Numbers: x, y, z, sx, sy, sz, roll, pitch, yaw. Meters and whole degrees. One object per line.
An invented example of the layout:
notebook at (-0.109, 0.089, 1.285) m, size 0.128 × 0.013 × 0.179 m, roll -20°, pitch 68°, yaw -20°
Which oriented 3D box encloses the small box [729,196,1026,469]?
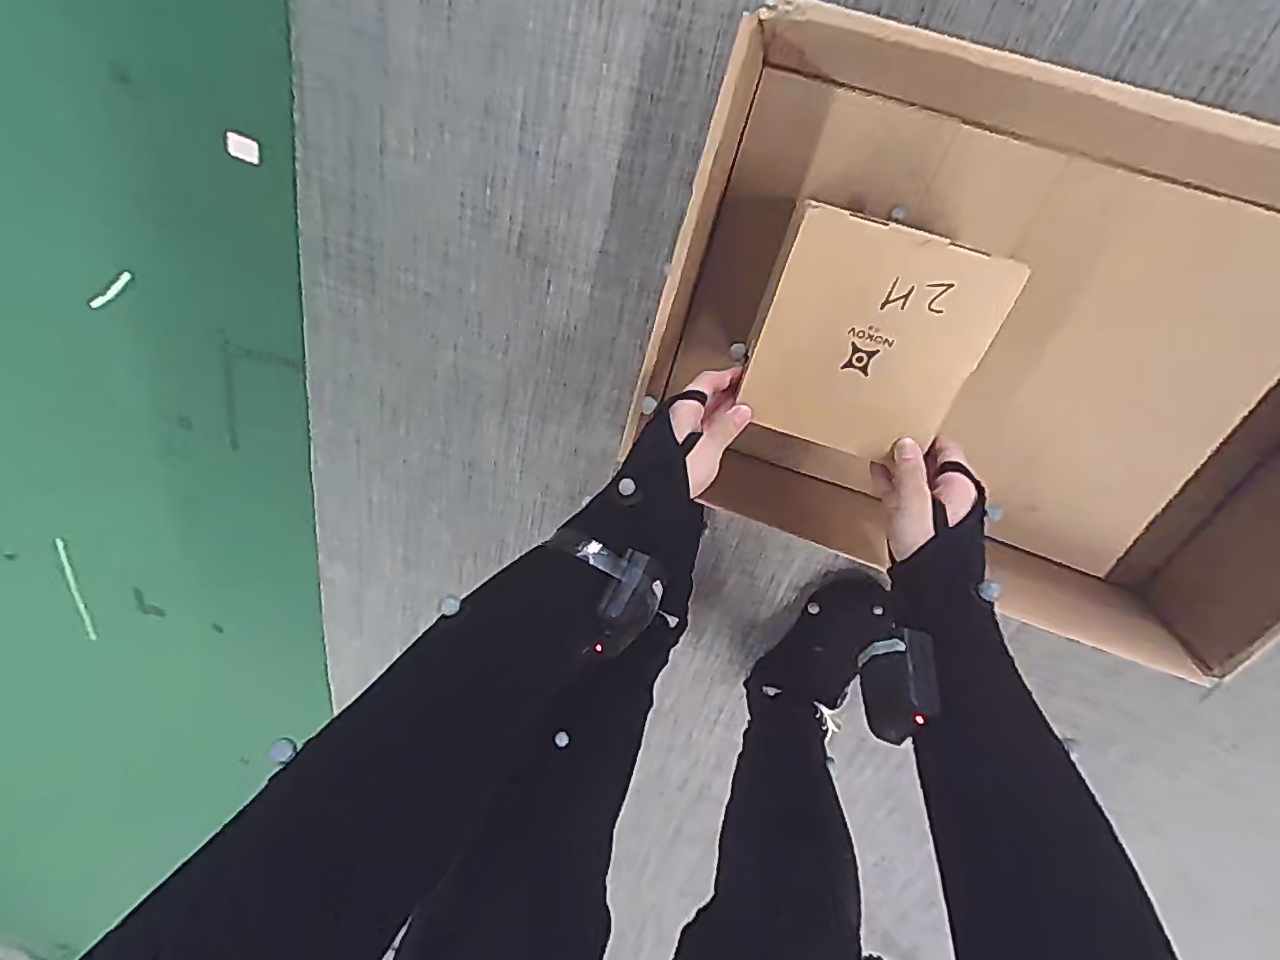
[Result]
small box at (0.192, -0.141, 0.494) m, size 0.168 × 0.176 × 0.179 m, roll 19°, pitch 119°, yaw 3°
